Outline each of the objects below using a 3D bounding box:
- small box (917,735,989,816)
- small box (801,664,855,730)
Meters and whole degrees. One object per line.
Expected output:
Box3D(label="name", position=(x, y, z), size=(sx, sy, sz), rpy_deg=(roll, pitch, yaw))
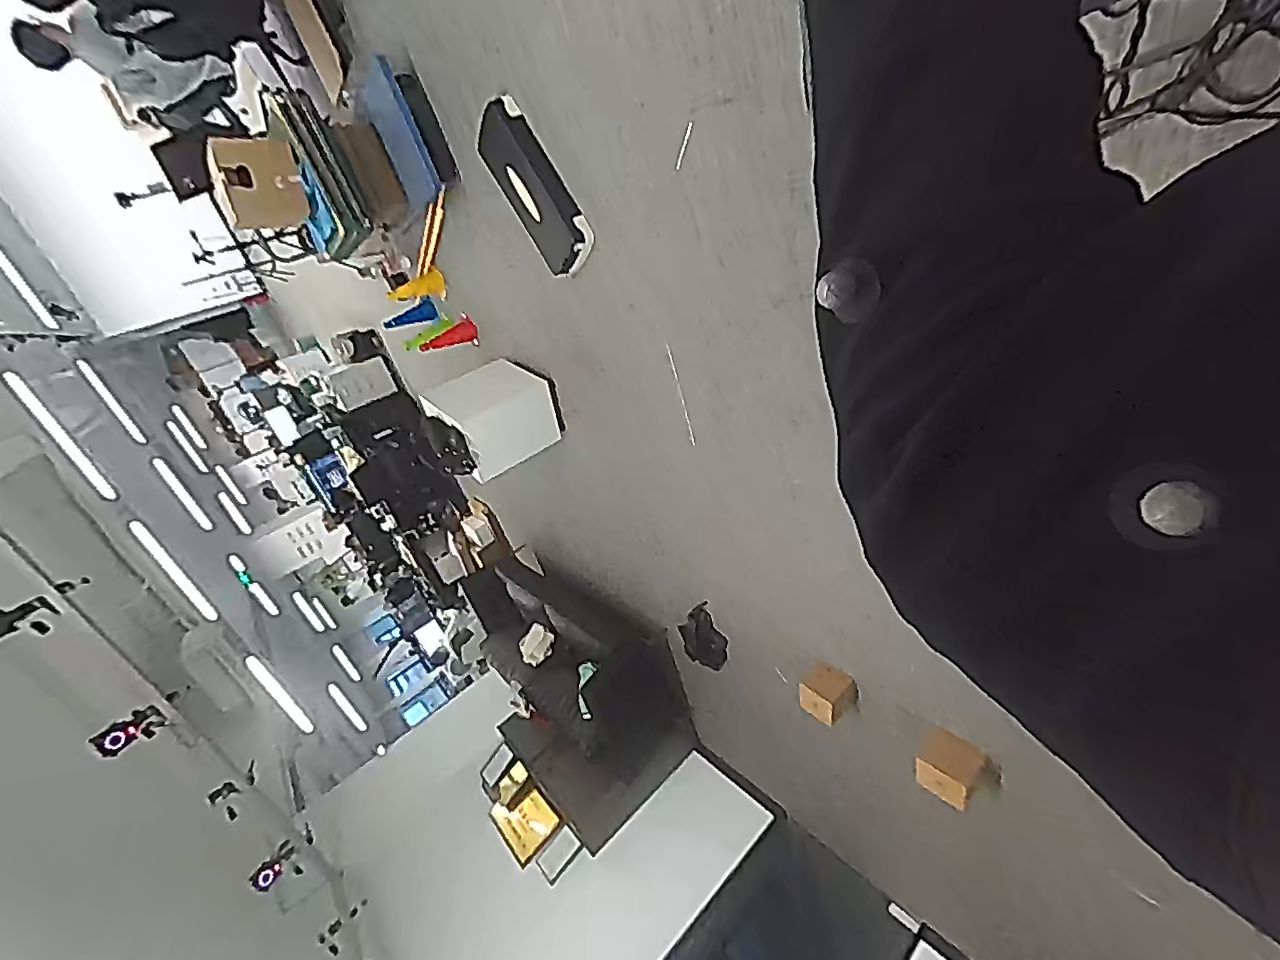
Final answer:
Box3D(label="small box", position=(1.162, 1.087, 2.011), size=(0.179, 0.176, 0.168), rpy_deg=(21, 135, 48))
Box3D(label="small box", position=(0.834, 0.956, 2.398), size=(0.168, 0.176, 0.179), rpy_deg=(27, 140, 46))
